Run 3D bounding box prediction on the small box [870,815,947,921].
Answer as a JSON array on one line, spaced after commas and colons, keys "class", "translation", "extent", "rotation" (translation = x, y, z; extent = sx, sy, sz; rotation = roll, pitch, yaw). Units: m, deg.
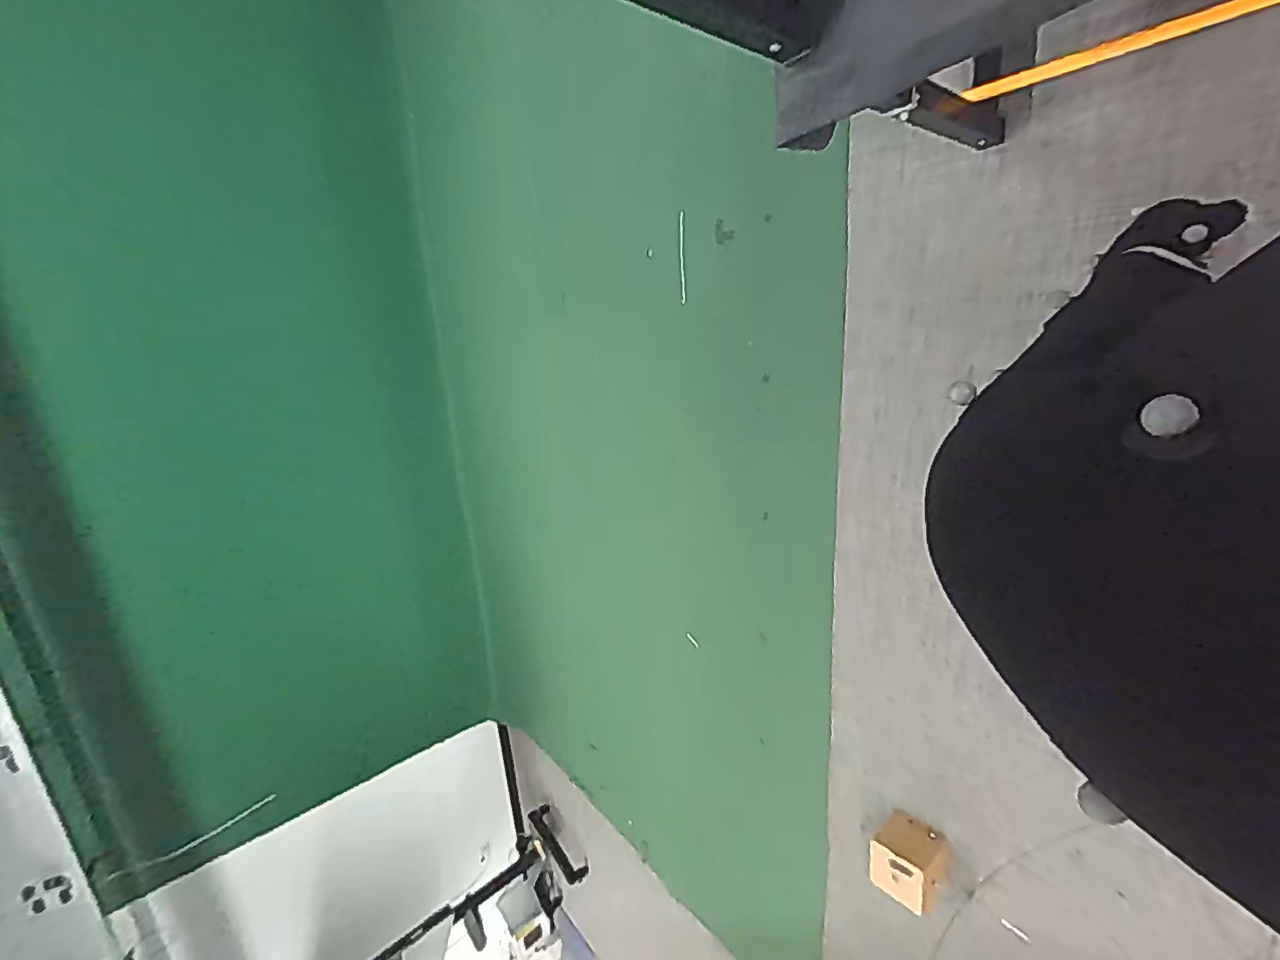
[{"class": "small box", "translation": [0.849, 1.213, 1.707], "extent": [0.168, 0.176, 0.179], "rotation": [12, 112, 50]}]
